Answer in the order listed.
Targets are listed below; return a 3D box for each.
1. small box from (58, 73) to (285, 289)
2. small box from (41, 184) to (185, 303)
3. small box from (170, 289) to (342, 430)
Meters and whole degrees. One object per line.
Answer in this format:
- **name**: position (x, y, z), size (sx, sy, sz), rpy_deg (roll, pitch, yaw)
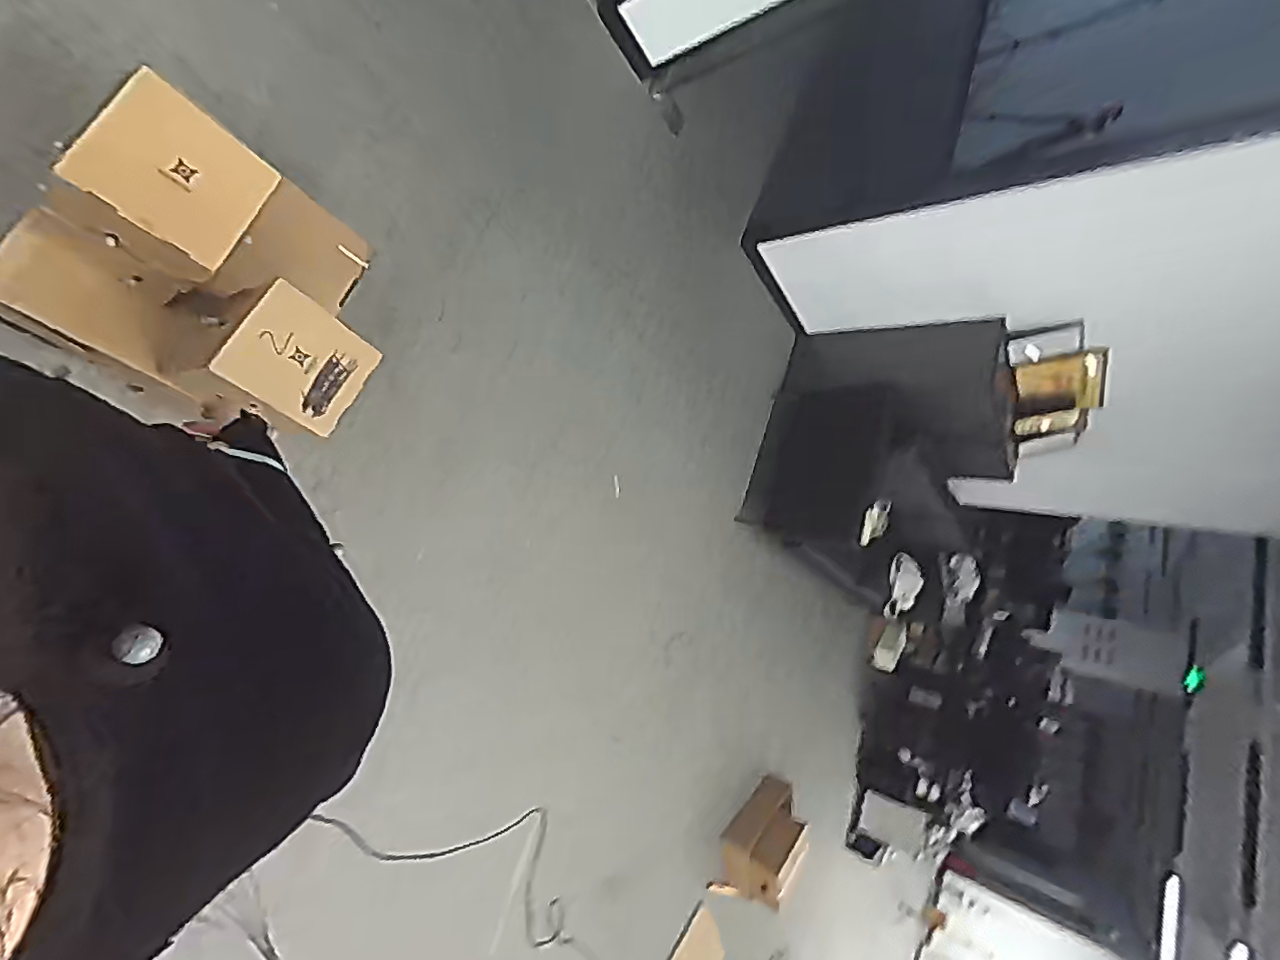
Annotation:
- **small box**: position (-0.636, -0.390, 0.735), size (0.168, 0.176, 0.179), rpy_deg (38, 66, -45)
- **small box**: position (-0.763, -0.400, 0.836), size (0.168, 0.176, 0.179), rpy_deg (40, 63, -44)
- **small box**: position (-0.678, -0.204, 0.954), size (0.168, 0.176, 0.179), rpy_deg (42, 62, -44)
